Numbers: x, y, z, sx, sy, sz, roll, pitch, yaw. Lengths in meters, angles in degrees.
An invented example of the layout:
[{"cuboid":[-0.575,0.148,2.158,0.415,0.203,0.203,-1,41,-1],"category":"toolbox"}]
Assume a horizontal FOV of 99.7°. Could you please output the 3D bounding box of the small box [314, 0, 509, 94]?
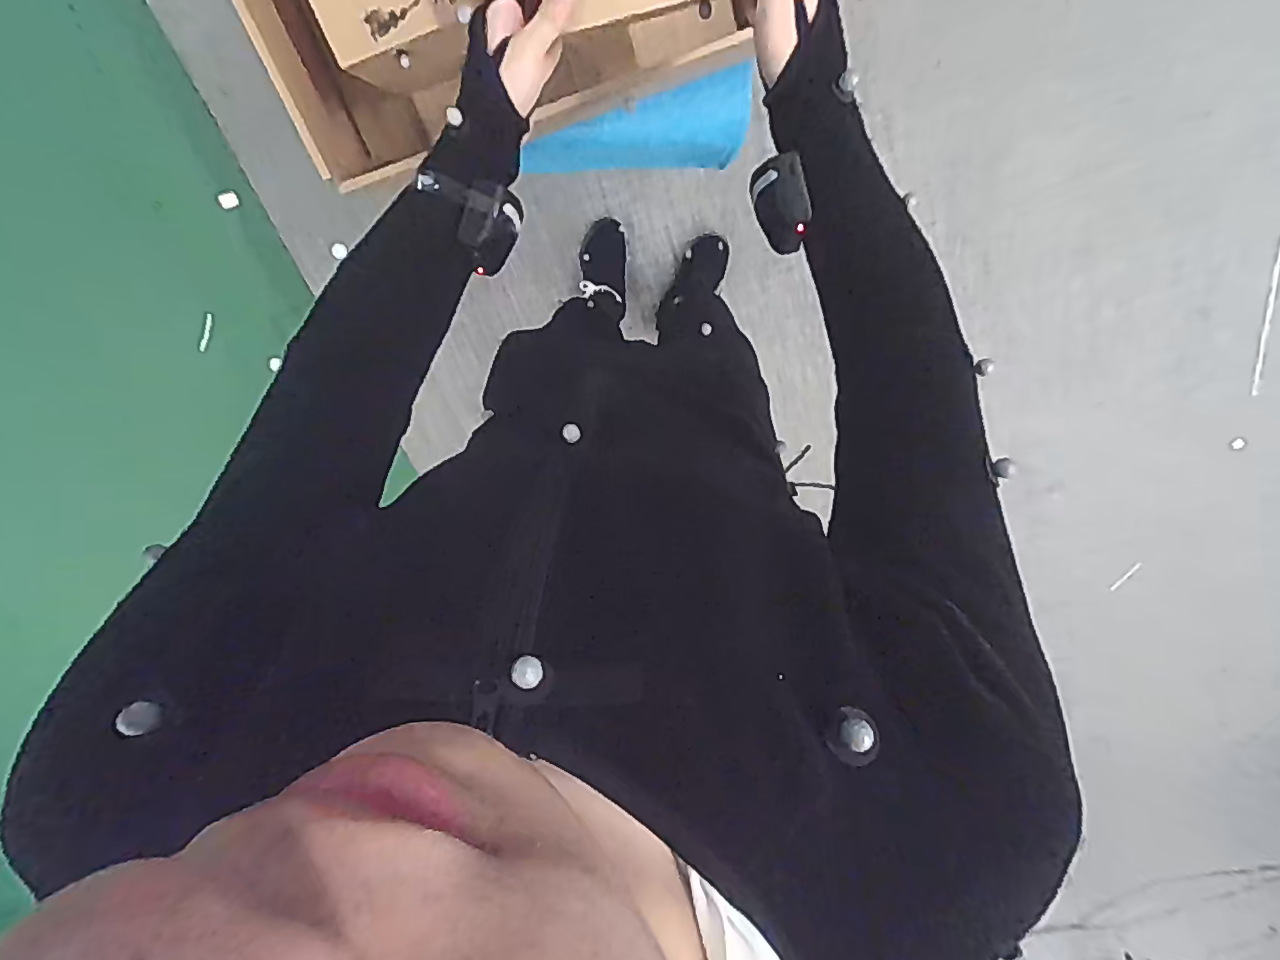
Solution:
[{"cuboid":[-0.268,-0.577,0.610,0.168,0.176,0.179,-16,115,7],"category":"small box"}]
